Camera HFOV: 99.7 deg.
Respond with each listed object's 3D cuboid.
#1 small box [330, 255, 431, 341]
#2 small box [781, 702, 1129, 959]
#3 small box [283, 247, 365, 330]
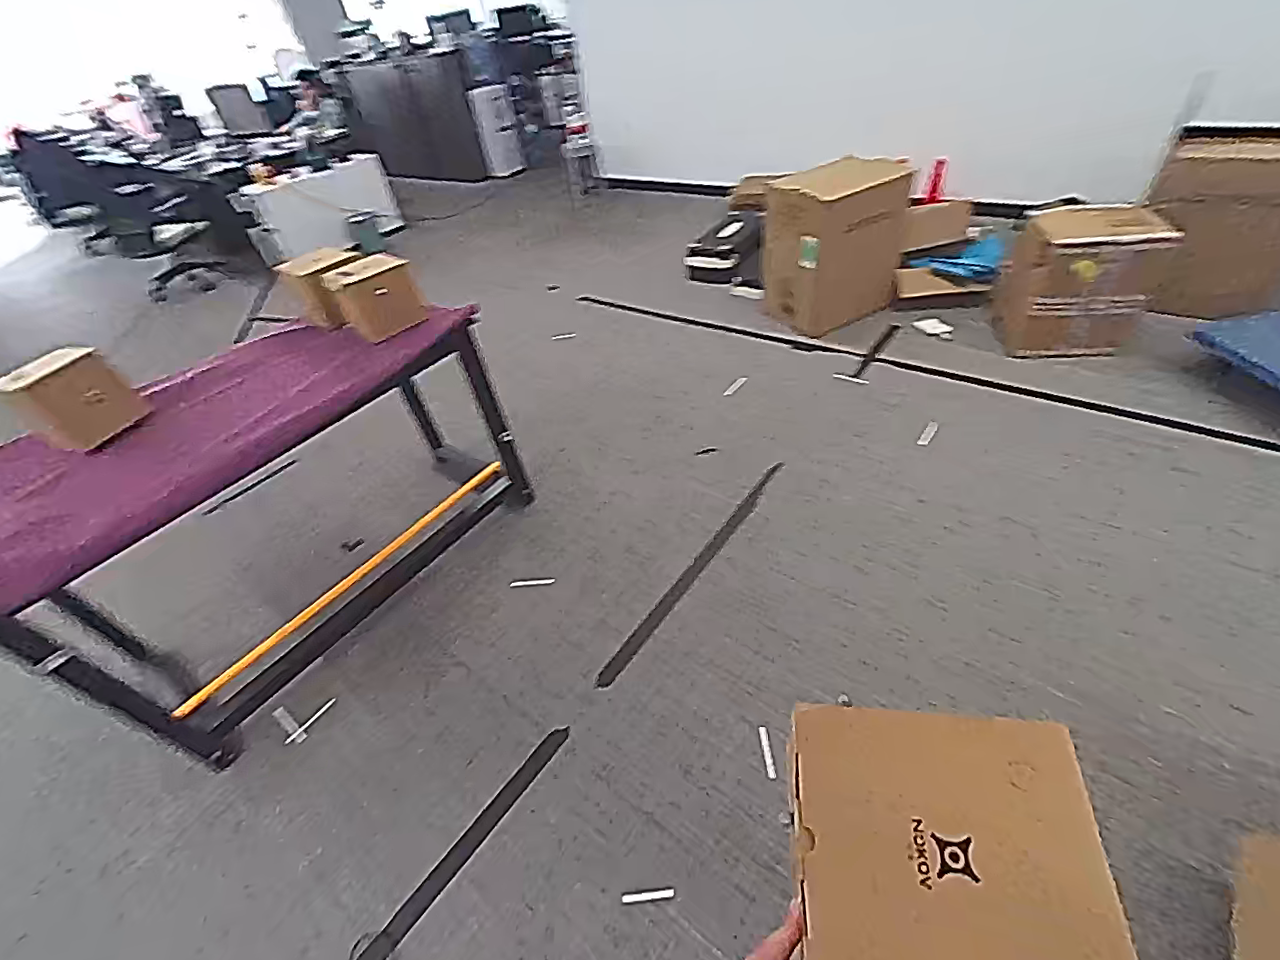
[{"bbox_3d":[-0.733,-0.518,1.540,0.168,0.176,0.179,28,54,36],"label":"small box"},{"bbox_3d":[0.198,0.269,0.396,0.179,0.176,0.168,-3,56,13],"label":"small box"},{"bbox_3d":[-0.930,-0.585,1.650,0.168,0.176,0.179,24,52,30],"label":"small box"}]
